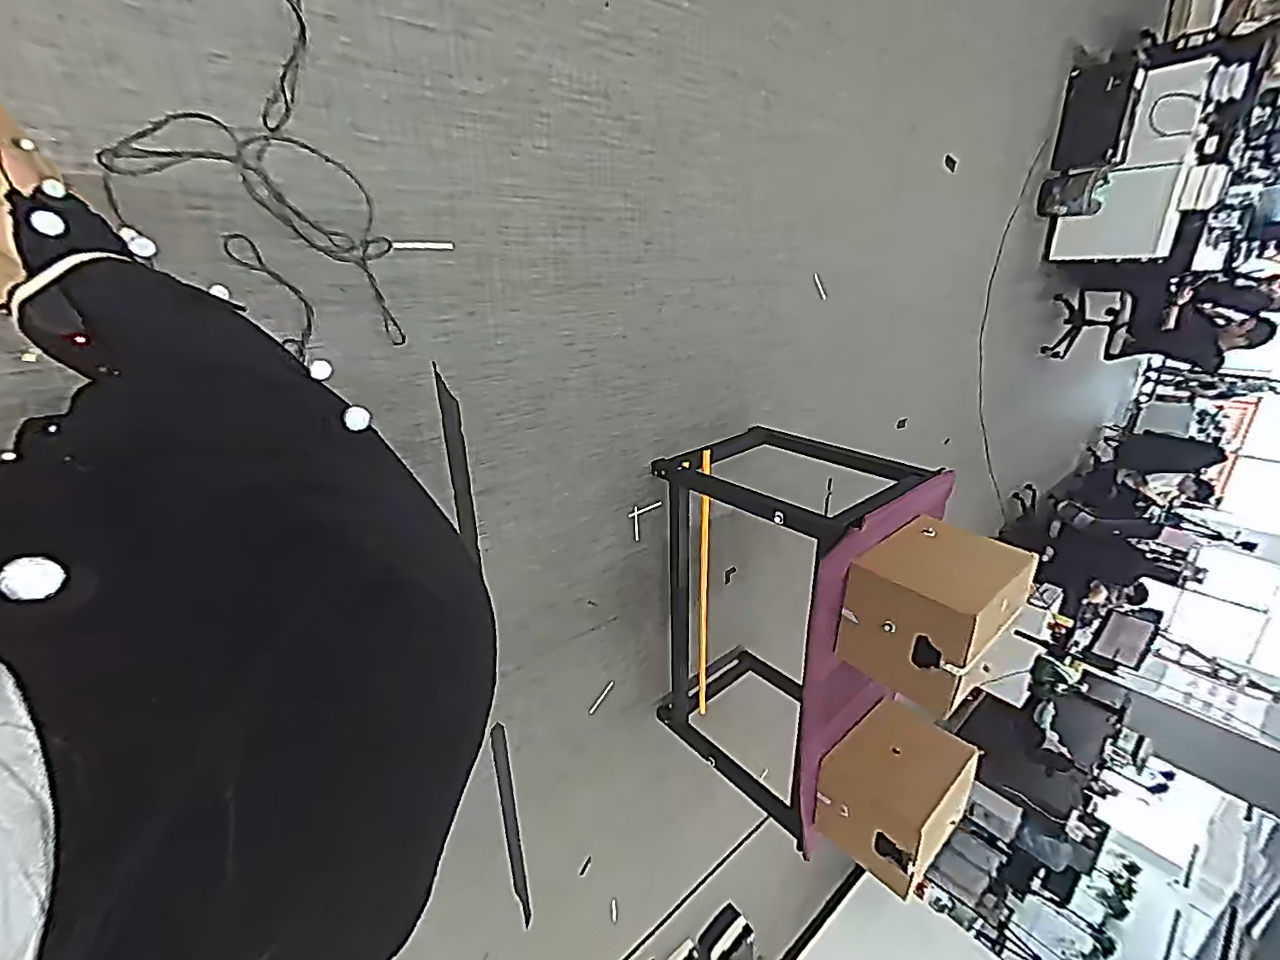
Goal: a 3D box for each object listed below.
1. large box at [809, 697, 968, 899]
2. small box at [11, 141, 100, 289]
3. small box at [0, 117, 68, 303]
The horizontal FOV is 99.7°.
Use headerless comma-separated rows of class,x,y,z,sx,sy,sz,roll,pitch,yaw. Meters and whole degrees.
large box,0.790,0.991,1.739,0.408,0.320,0.320,-20,119,-37
small box,-0.832,-0.325,0.684,0.179,0.176,0.168,-22,120,-33
small box,-0.604,-0.235,0.421,0.179,0.176,0.168,-22,131,-34
